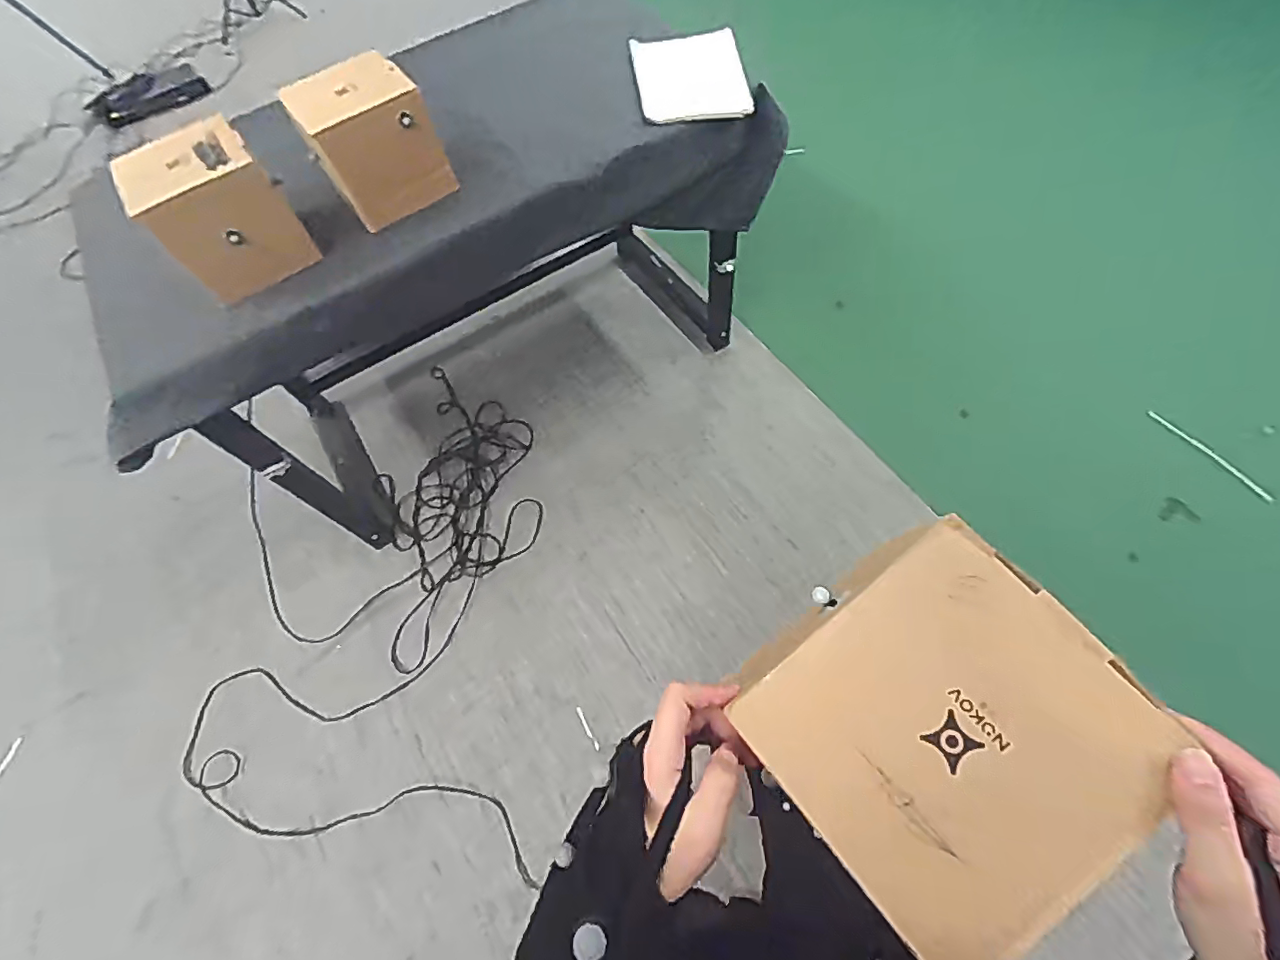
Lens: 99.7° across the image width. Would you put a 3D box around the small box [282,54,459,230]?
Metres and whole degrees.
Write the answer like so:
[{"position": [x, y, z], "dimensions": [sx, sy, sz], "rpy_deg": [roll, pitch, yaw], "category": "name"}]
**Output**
[{"position": [-0.437, -0.554, 0.899], "dimensions": [0.179, 0.176, 0.168], "rpy_deg": [-35, 64, -13], "category": "small box"}]
